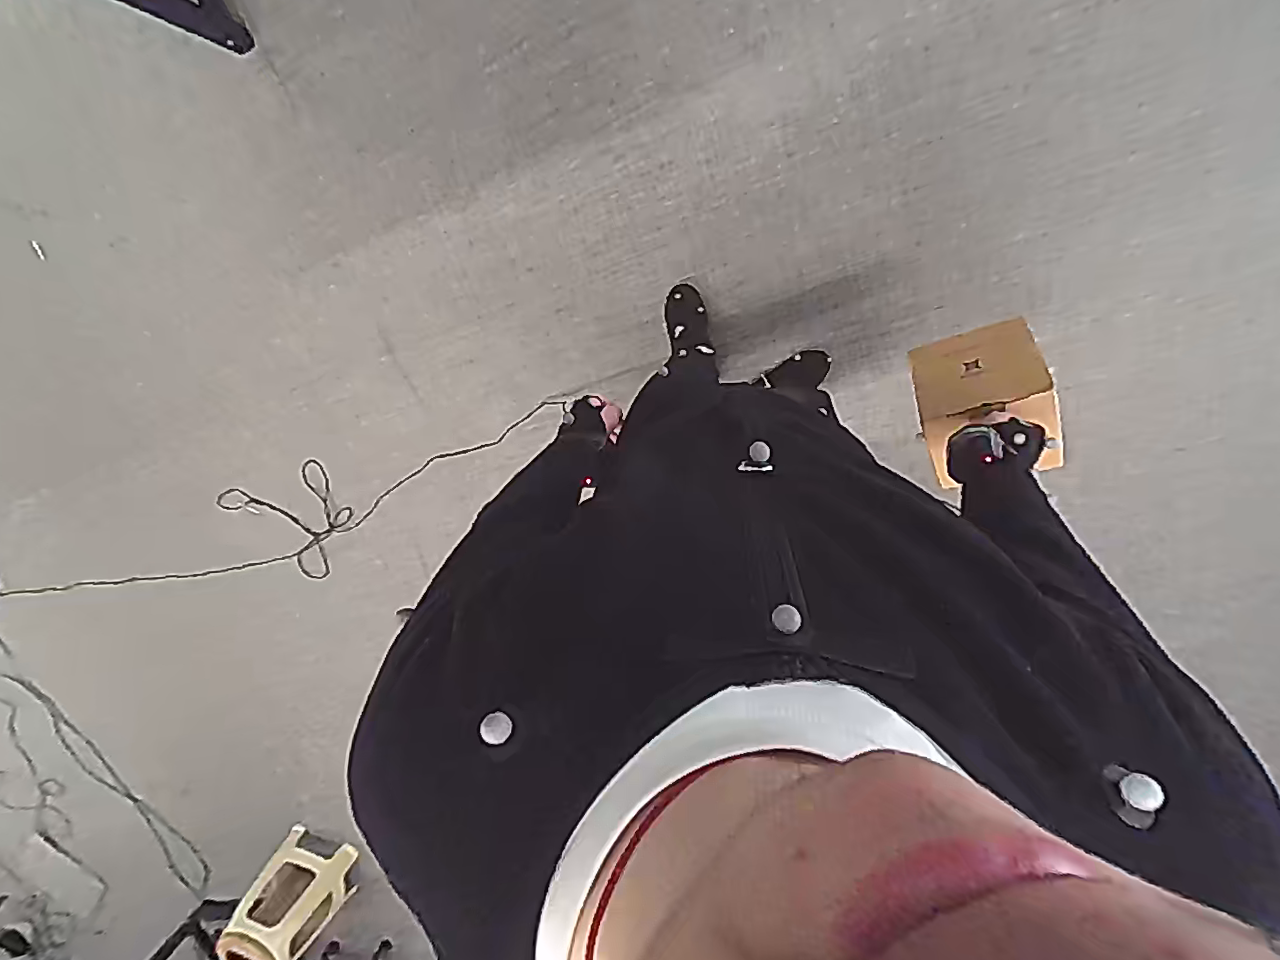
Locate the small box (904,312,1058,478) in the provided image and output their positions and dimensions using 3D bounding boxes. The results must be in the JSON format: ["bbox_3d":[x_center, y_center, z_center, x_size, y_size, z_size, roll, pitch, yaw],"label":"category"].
[{"bbox_3d":[0.530,-0.121,0.847,0.168,0.179,0.176,-15,133,29],"label":"small box"}]
